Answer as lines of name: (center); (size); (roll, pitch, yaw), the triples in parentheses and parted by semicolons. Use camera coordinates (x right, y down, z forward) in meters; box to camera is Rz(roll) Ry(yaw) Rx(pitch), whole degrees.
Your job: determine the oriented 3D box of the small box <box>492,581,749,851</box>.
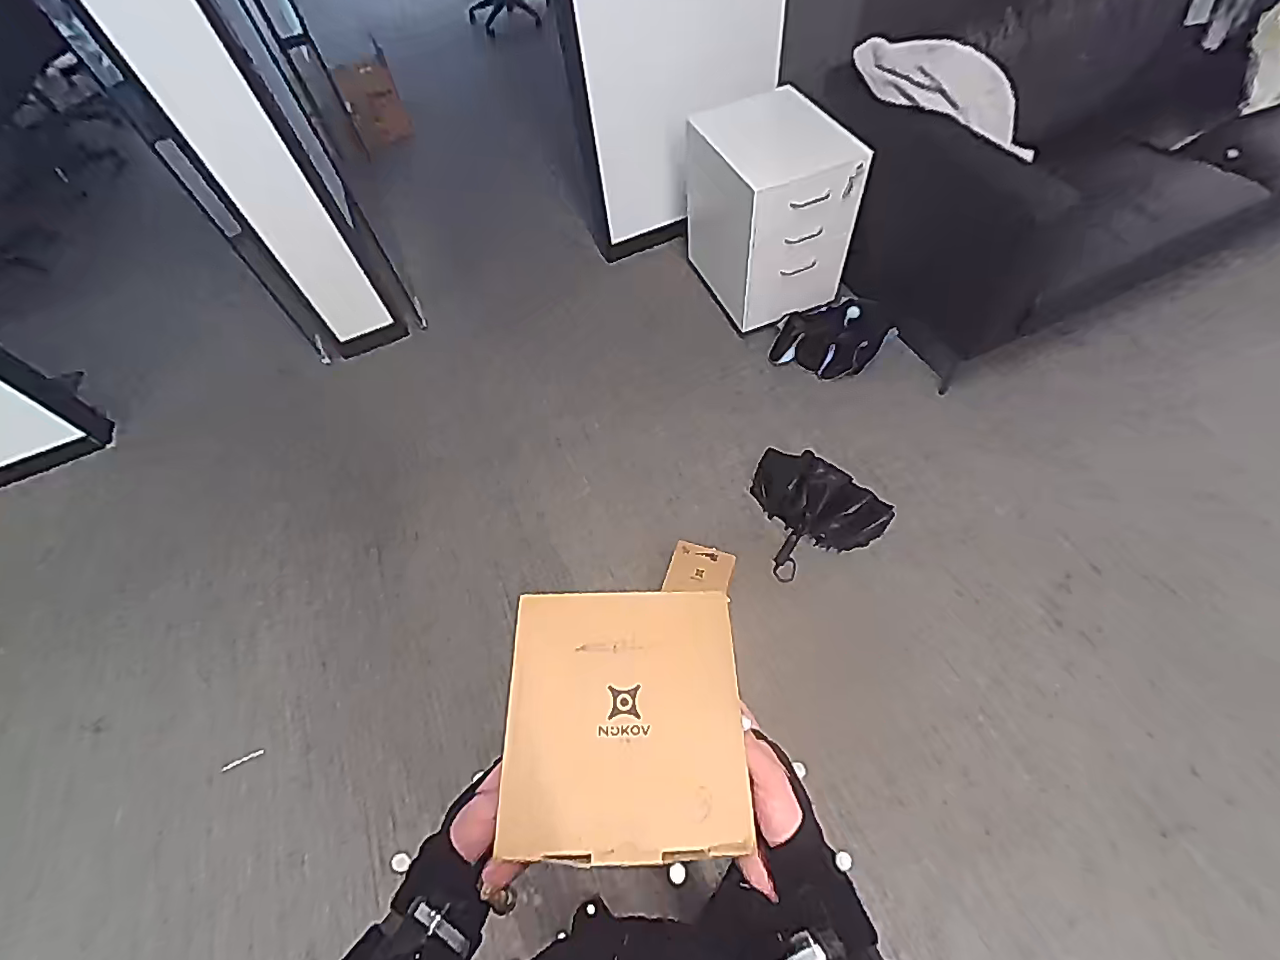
small box: (-0.015, 0.198, 0.449); (0.168, 0.176, 0.179); (0, 56, -3)
